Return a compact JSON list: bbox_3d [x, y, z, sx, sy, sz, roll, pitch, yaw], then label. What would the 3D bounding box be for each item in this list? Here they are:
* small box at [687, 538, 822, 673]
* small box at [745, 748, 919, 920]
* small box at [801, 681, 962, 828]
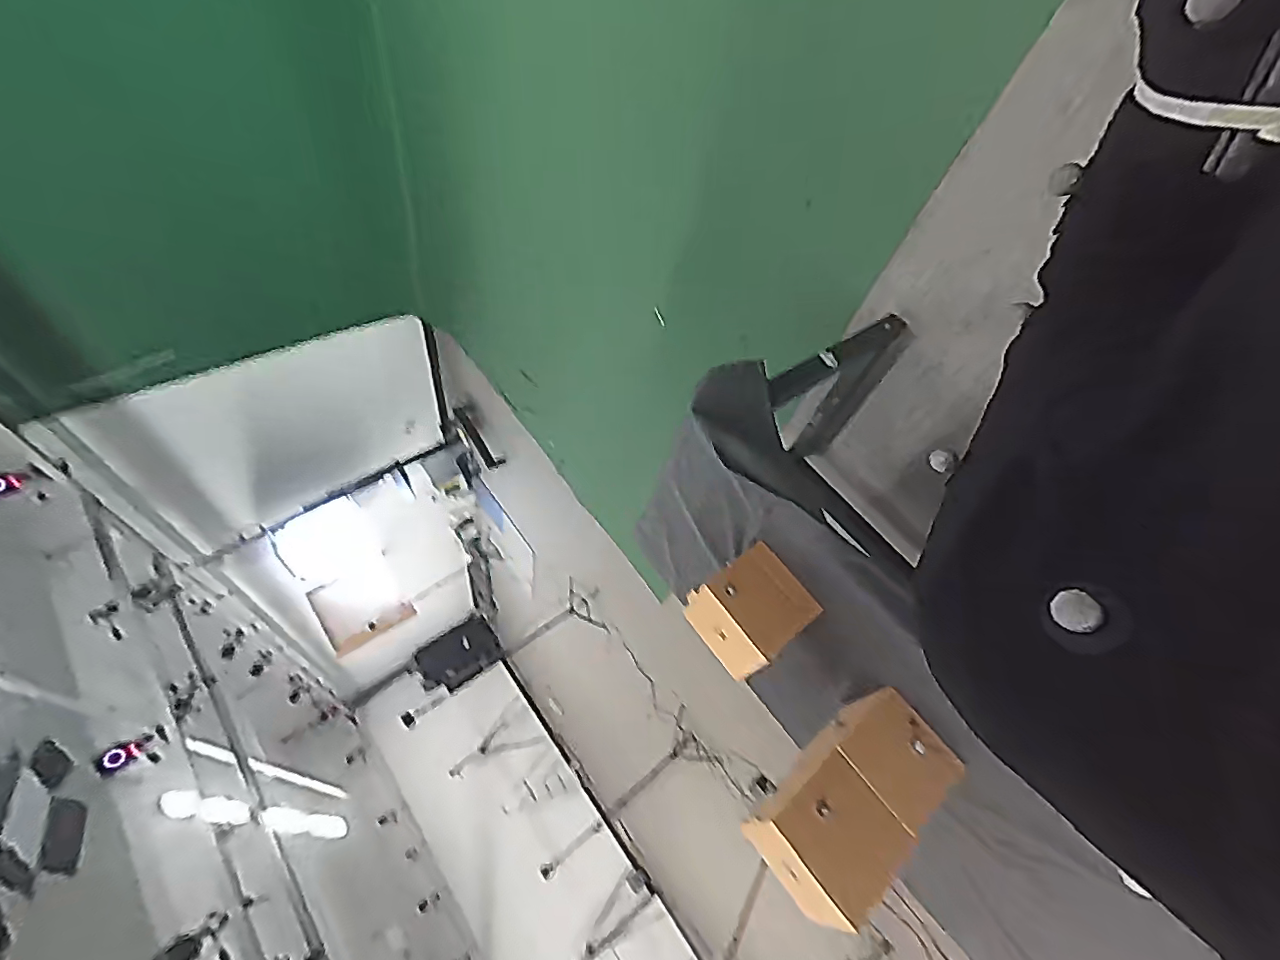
[{"bbox_3d":[0.228,0.250,1.082,0.179,0.176,0.168,50,151,19],"label":"small box"},{"bbox_3d":[0.312,0.571,0.896,0.179,0.176,0.168,47,151,21],"label":"small box"},{"bbox_3d":[0.432,0.496,0.975,0.168,0.176,0.179,49,149,20],"label":"small box"}]
